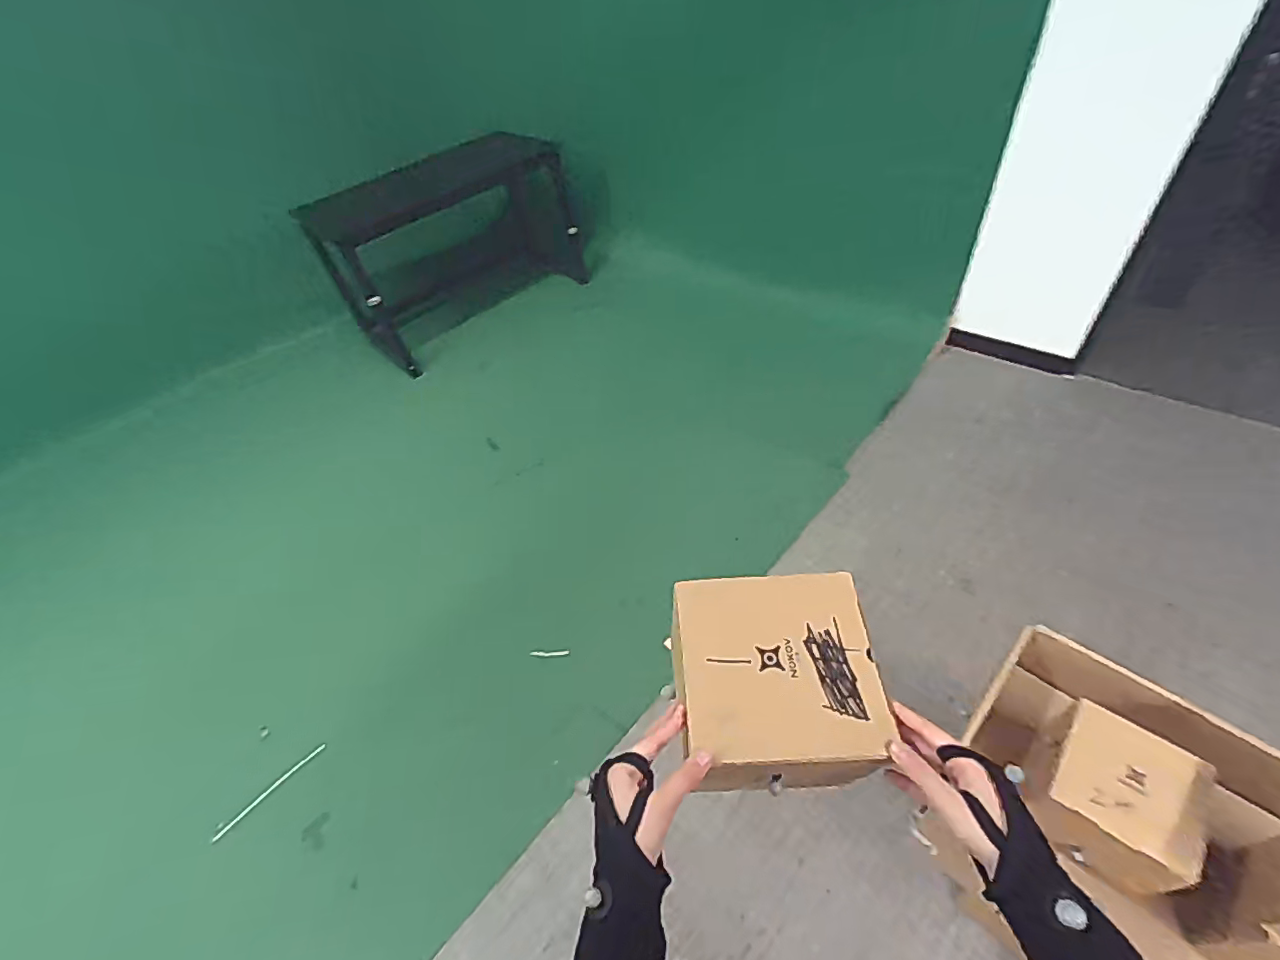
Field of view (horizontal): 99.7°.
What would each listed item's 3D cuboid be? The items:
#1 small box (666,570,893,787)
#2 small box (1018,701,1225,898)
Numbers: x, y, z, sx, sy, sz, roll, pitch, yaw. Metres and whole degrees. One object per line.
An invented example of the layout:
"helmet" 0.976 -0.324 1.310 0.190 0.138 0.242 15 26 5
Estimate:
"small box" 0.119 0.205 0.547 0.179 0.176 0.168 -3 53 0
"small box" 0.706 0.477 0.810 0.168 0.176 0.179 29 59 32
